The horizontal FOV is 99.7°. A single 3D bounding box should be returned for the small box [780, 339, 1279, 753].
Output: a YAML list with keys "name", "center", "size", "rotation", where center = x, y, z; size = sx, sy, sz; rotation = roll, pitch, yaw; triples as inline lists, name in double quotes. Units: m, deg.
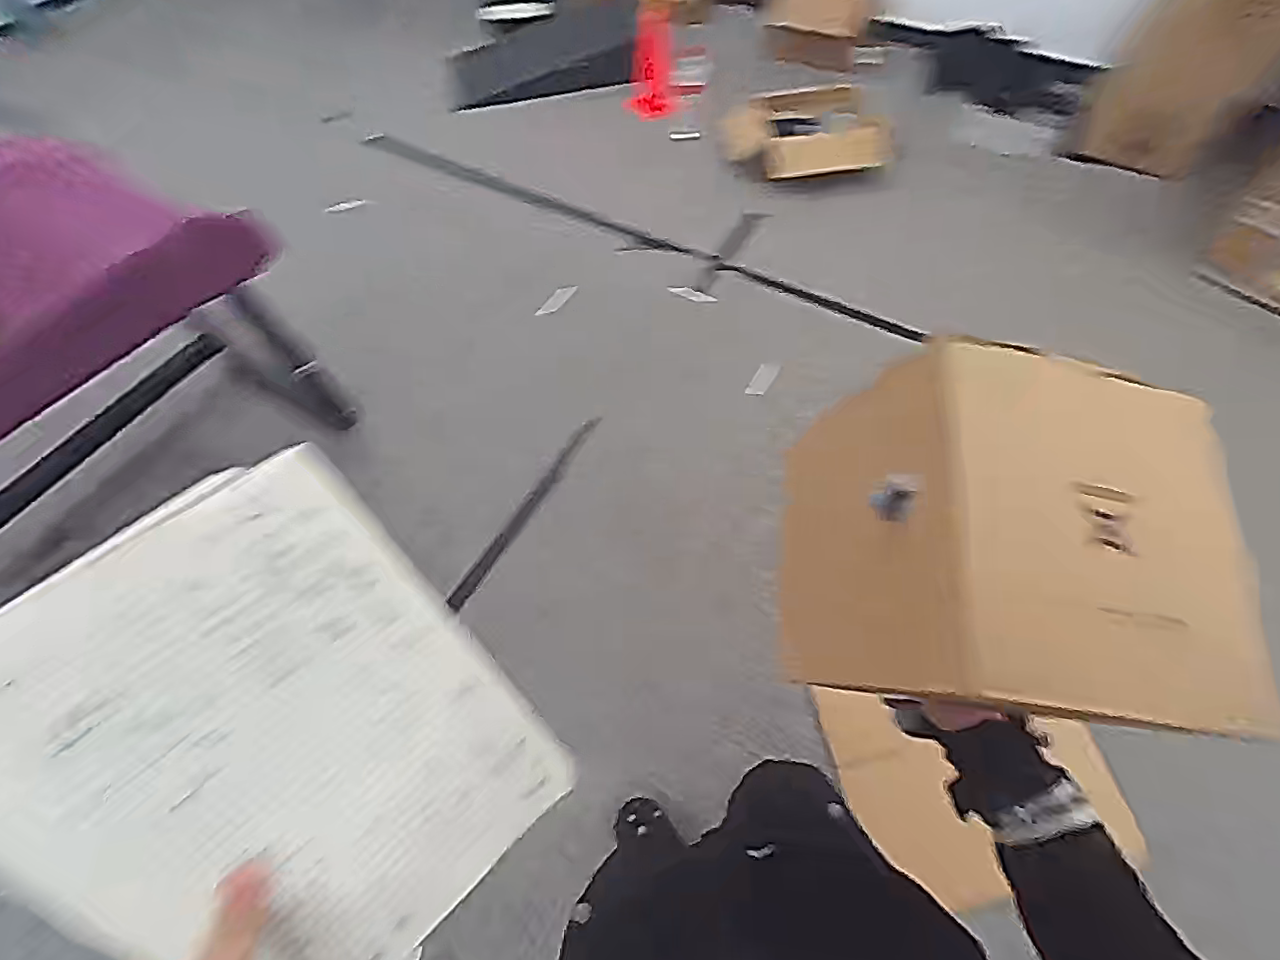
- name: "small box"
  center: [0.197, 0.049, 0.326]
  size: [0.168, 0.176, 0.179]
  rotation: [10, 71, -10]
